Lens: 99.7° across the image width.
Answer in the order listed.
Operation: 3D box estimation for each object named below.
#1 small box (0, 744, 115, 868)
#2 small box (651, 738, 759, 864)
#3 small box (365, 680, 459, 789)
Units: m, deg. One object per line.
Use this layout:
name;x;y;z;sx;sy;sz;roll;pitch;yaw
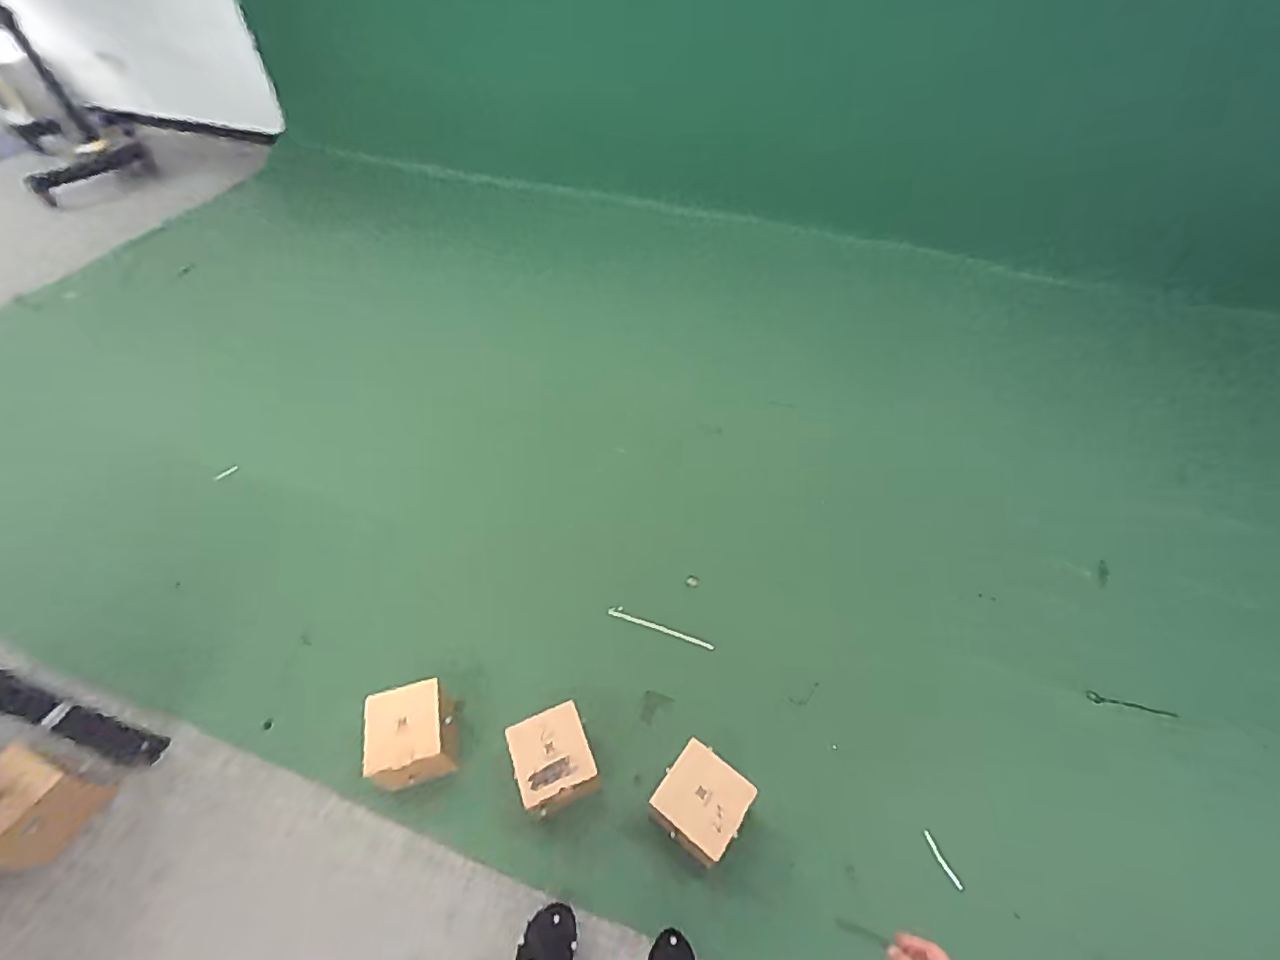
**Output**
small box;-1.346;0.723;1.194;0.168;0.176;0.179;20;53;15
small box;0.137;0.719;1.204;0.179;0.176;0.168;32;58;22
small box;-0.539;0.609;1.292;0.168;0.176;0.179;-12;53;-11
